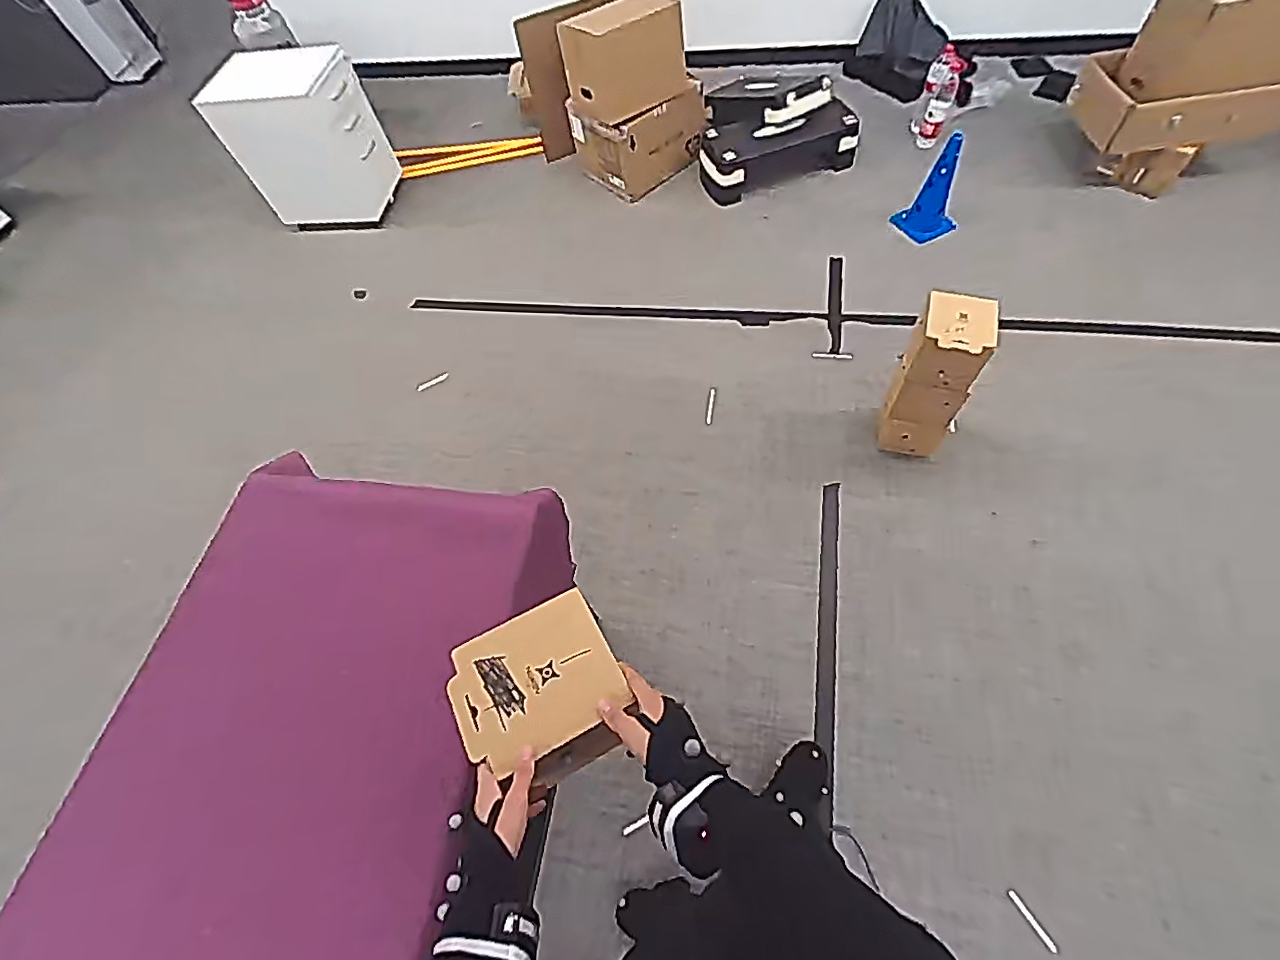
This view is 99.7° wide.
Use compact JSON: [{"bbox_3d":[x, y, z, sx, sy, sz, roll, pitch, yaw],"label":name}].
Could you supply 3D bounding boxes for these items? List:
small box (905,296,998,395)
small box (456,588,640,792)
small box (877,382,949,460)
[{"bbox_3d":[0.828,-0.357,1.446,0.168,0.176,0.179,15,64,14],"label":"small box"},{"bbox_3d":[-0.111,0.277,0.705,0.179,0.176,0.168,-24,57,-15],"label":"small box"},{"bbox_3d":[0.868,-0.183,1.724,0.168,0.176,0.179,10,62,12],"label":"small box"}]
